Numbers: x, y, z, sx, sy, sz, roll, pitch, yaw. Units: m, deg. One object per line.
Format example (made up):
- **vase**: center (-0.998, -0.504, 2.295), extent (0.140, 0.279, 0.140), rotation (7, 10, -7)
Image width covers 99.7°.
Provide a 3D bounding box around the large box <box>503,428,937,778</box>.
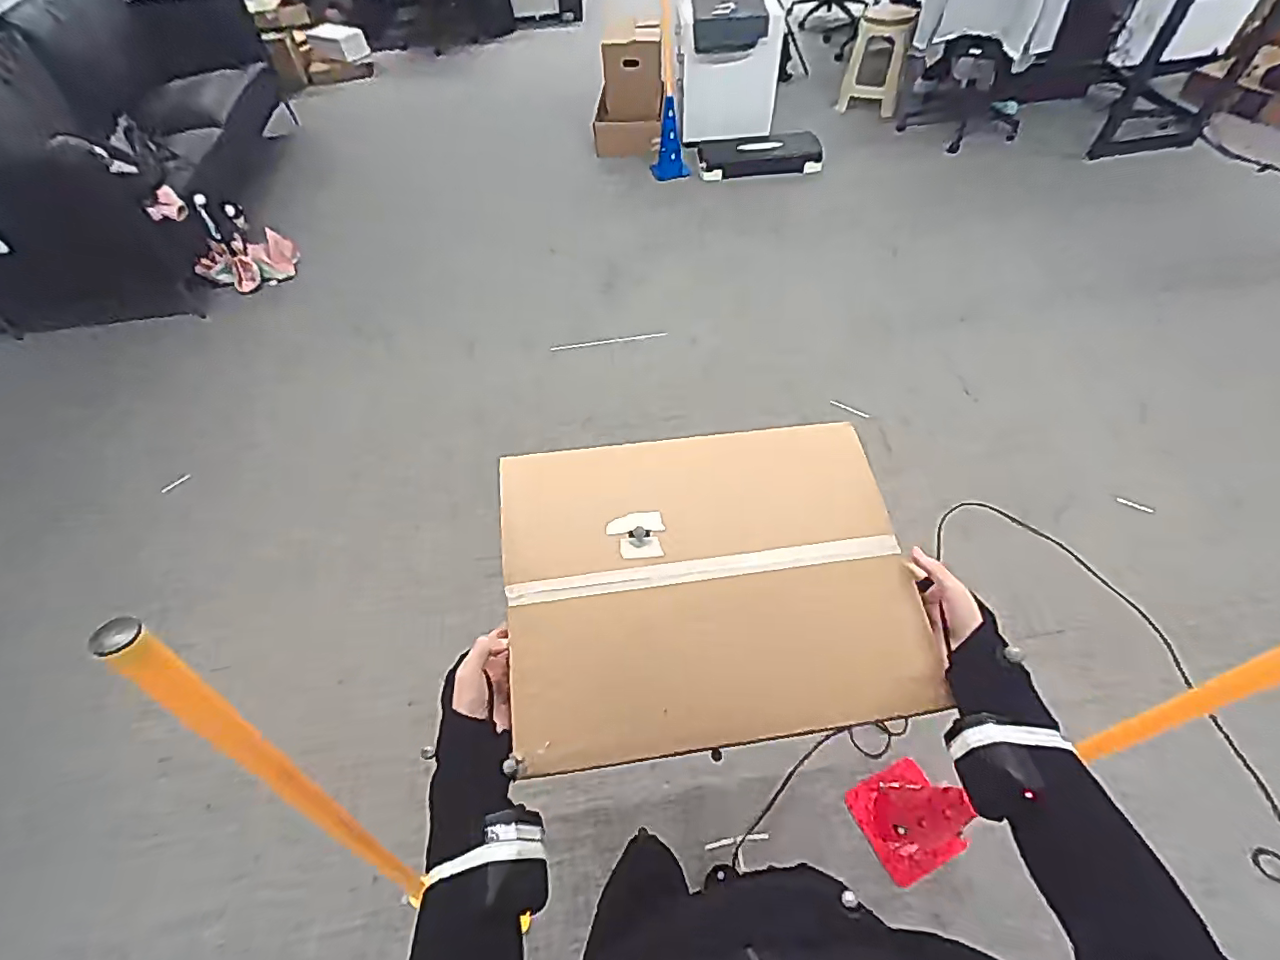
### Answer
- **large box**: center (0.064, 0.164, 0.692), extent (0.408, 0.320, 0.320), rotation (-7, 63, -5)
